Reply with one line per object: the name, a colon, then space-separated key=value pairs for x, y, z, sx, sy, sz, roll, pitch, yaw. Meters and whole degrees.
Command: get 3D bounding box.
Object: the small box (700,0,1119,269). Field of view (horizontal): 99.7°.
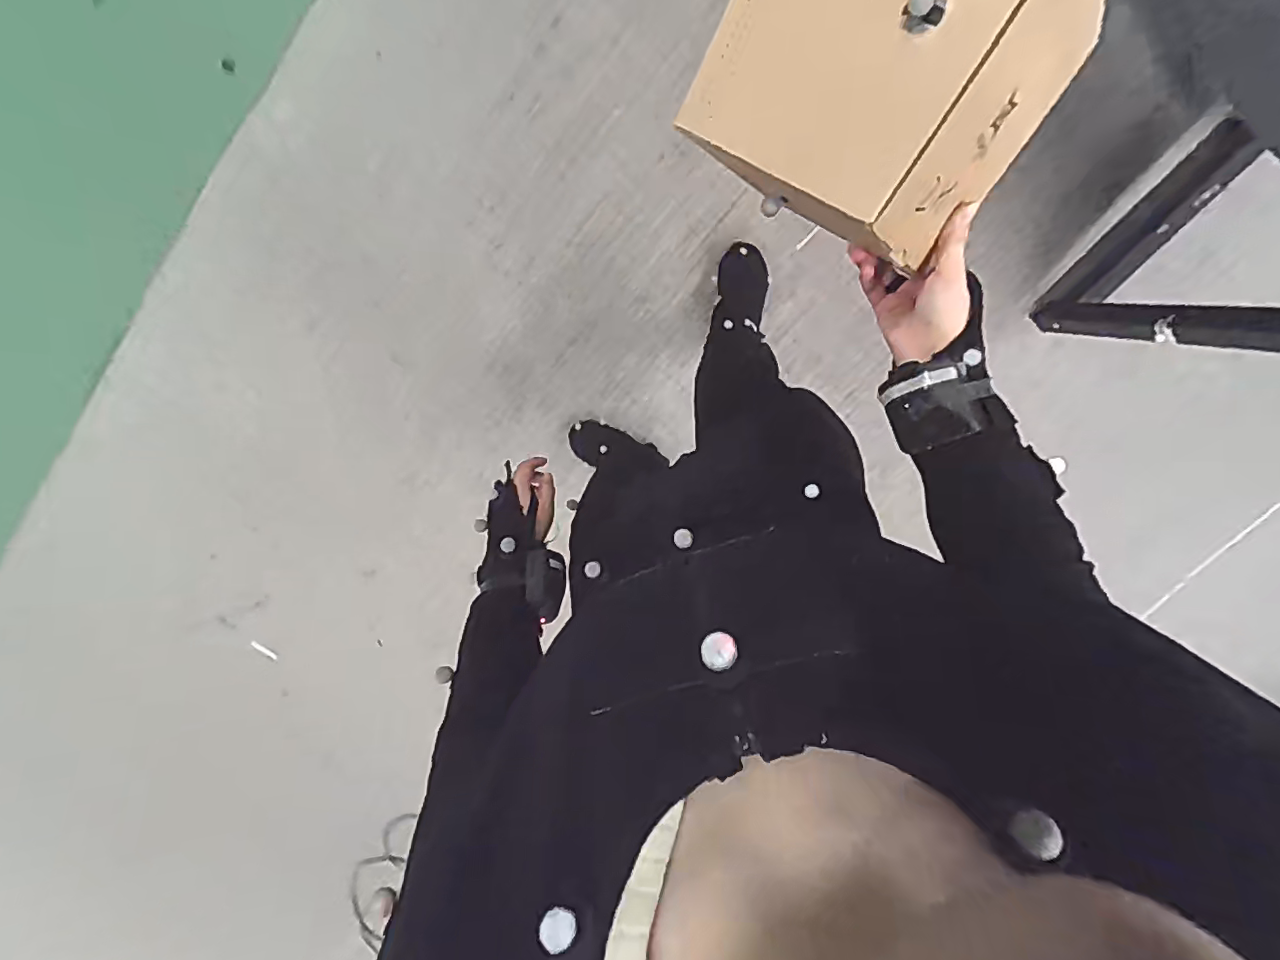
small box: x=0.172 y=-0.277 z=0.362 sx=0.176 sy=0.168 sz=0.179 roll=45 pitch=120 yaw=24
